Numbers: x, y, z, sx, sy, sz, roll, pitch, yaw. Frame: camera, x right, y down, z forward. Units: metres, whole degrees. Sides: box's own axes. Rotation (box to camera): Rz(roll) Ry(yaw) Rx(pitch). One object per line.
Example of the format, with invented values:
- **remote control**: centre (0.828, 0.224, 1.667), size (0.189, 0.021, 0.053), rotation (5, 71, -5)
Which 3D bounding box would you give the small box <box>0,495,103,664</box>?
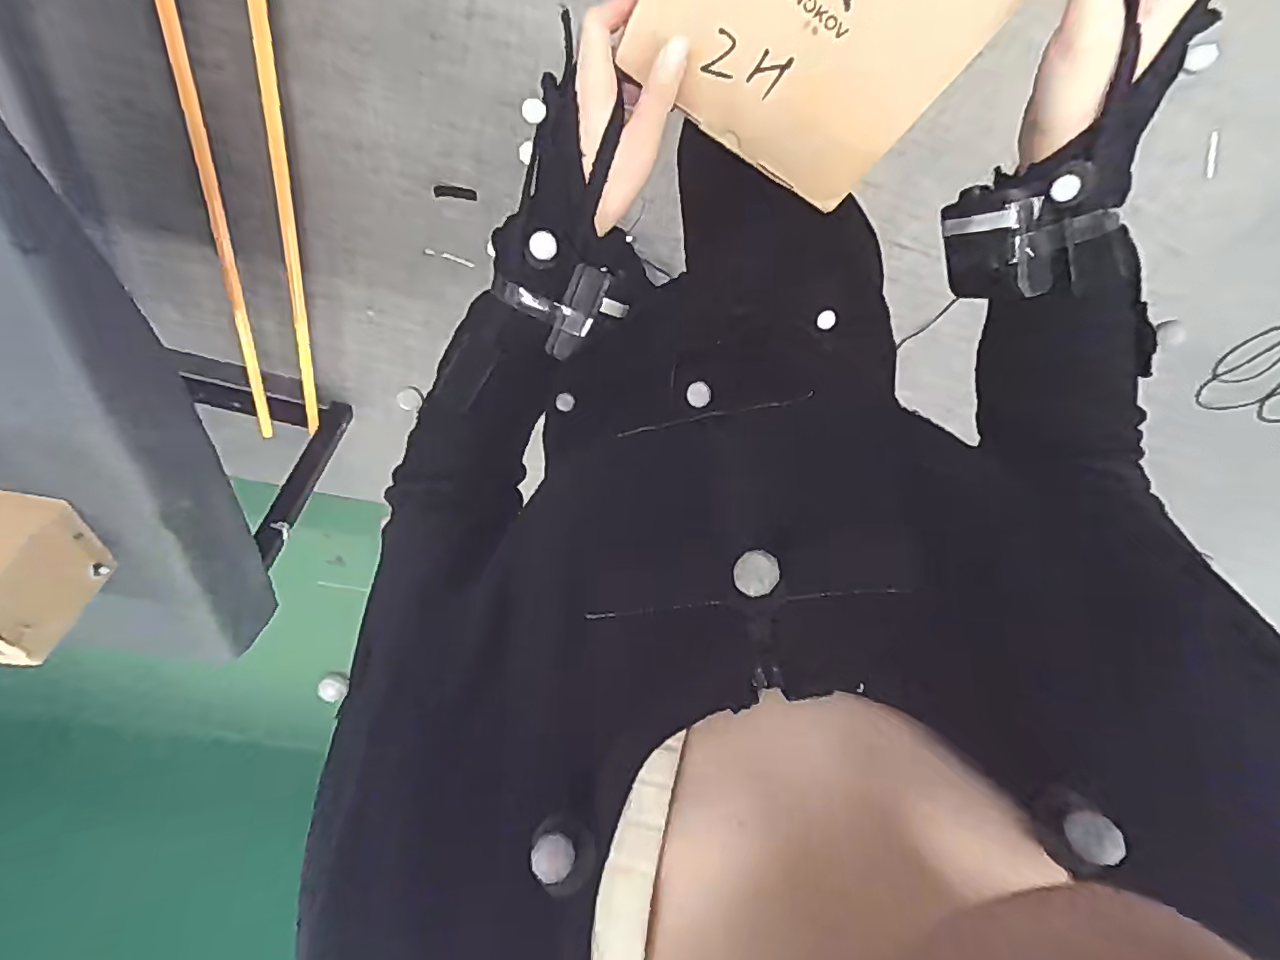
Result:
- **small box**: centre (-0.875, 0.122, 0.712), size (0.179, 0.176, 0.168), rotation (12, 137, -10)
